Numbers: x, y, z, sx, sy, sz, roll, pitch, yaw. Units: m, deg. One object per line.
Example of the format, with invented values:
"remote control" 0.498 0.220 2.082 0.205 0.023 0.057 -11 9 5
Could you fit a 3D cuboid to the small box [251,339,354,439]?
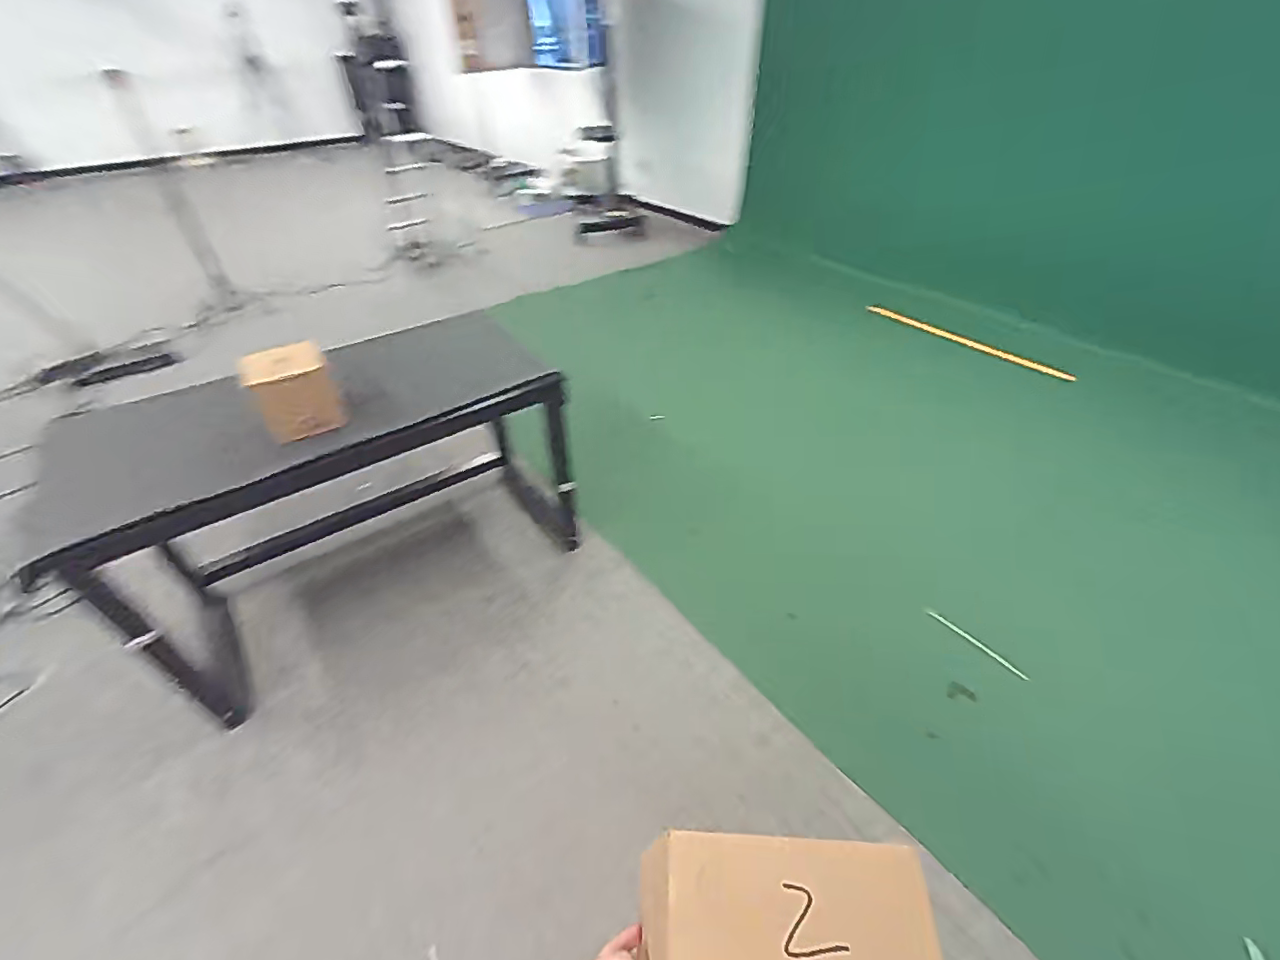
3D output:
"small box" -0.847 -0.229 1.361 0.168 0.176 0.179 -23 45 -23
